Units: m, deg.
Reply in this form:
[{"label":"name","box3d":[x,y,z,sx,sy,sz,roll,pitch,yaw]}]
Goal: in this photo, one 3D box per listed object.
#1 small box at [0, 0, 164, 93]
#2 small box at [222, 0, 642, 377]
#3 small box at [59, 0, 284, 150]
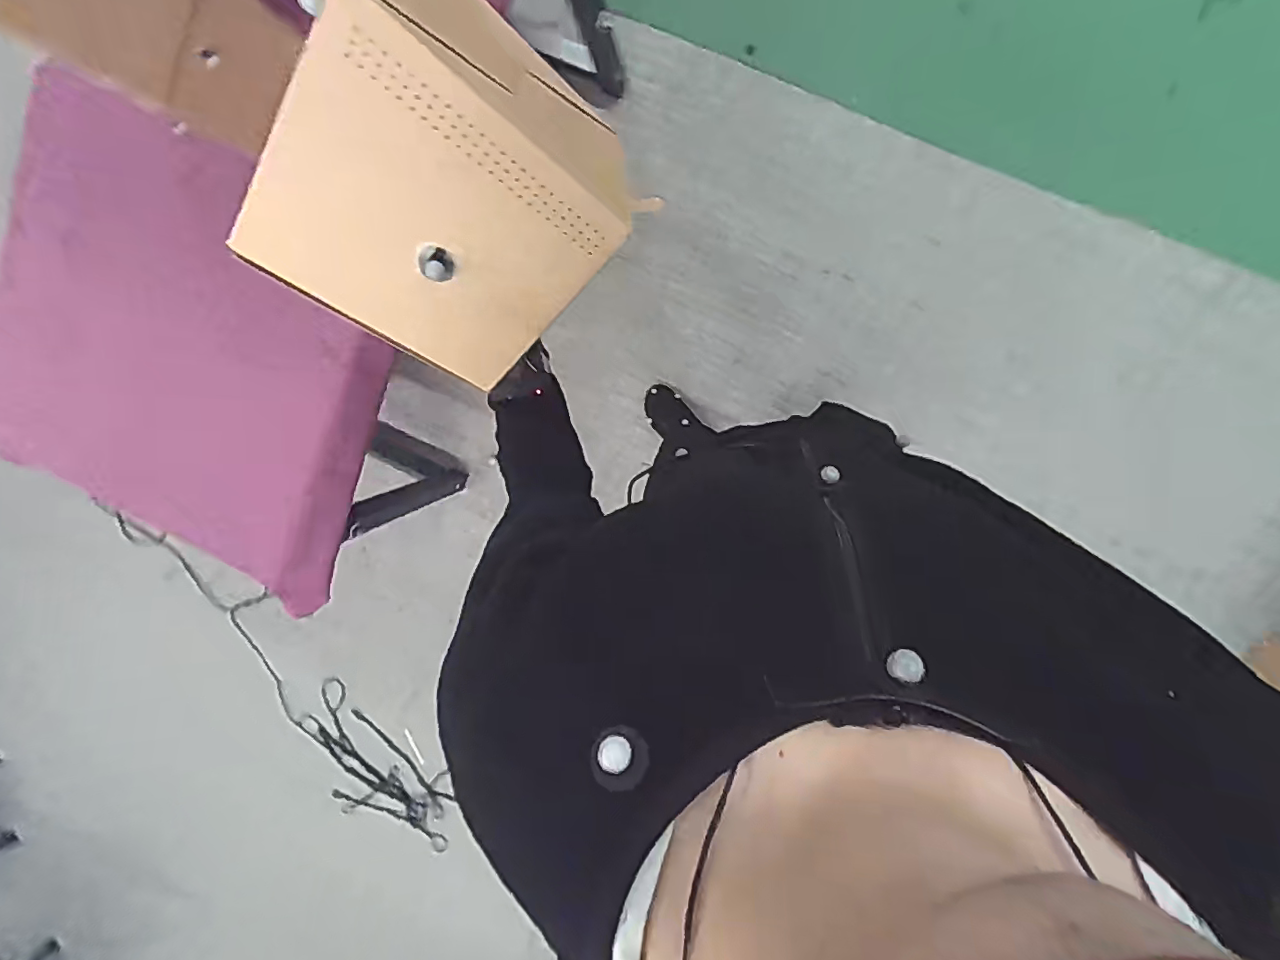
[{"label":"small box","box3d":[-0.601,-0.527,0.511,0.168,0.176,0.179,29,103,1]},{"label":"small box","box3d":[-0.122,-0.210,0.356,0.179,0.168,0.176,29,131,-34]},{"label":"small box","box3d":[-0.591,-0.556,0.673,0.168,0.176,0.179,29,103,0]}]
